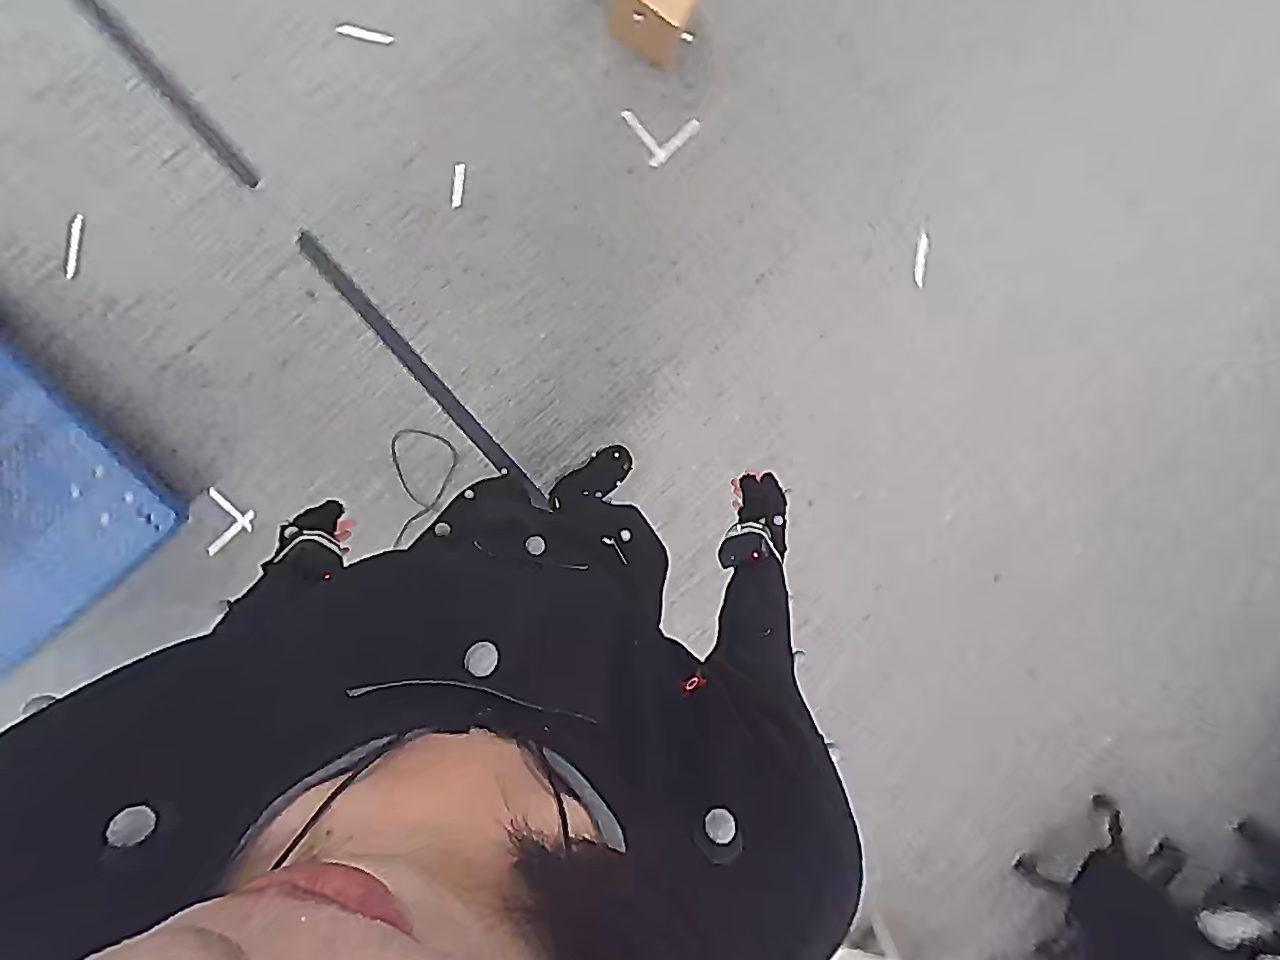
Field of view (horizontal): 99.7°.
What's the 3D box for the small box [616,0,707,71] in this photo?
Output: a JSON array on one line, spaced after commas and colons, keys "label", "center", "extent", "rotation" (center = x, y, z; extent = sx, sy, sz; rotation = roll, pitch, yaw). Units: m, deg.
[{"label": "small box", "center": [0.055, -1.179, 1.344], "extent": [0.179, 0.176, 0.168], "rotation": [31, 91, -11]}]
